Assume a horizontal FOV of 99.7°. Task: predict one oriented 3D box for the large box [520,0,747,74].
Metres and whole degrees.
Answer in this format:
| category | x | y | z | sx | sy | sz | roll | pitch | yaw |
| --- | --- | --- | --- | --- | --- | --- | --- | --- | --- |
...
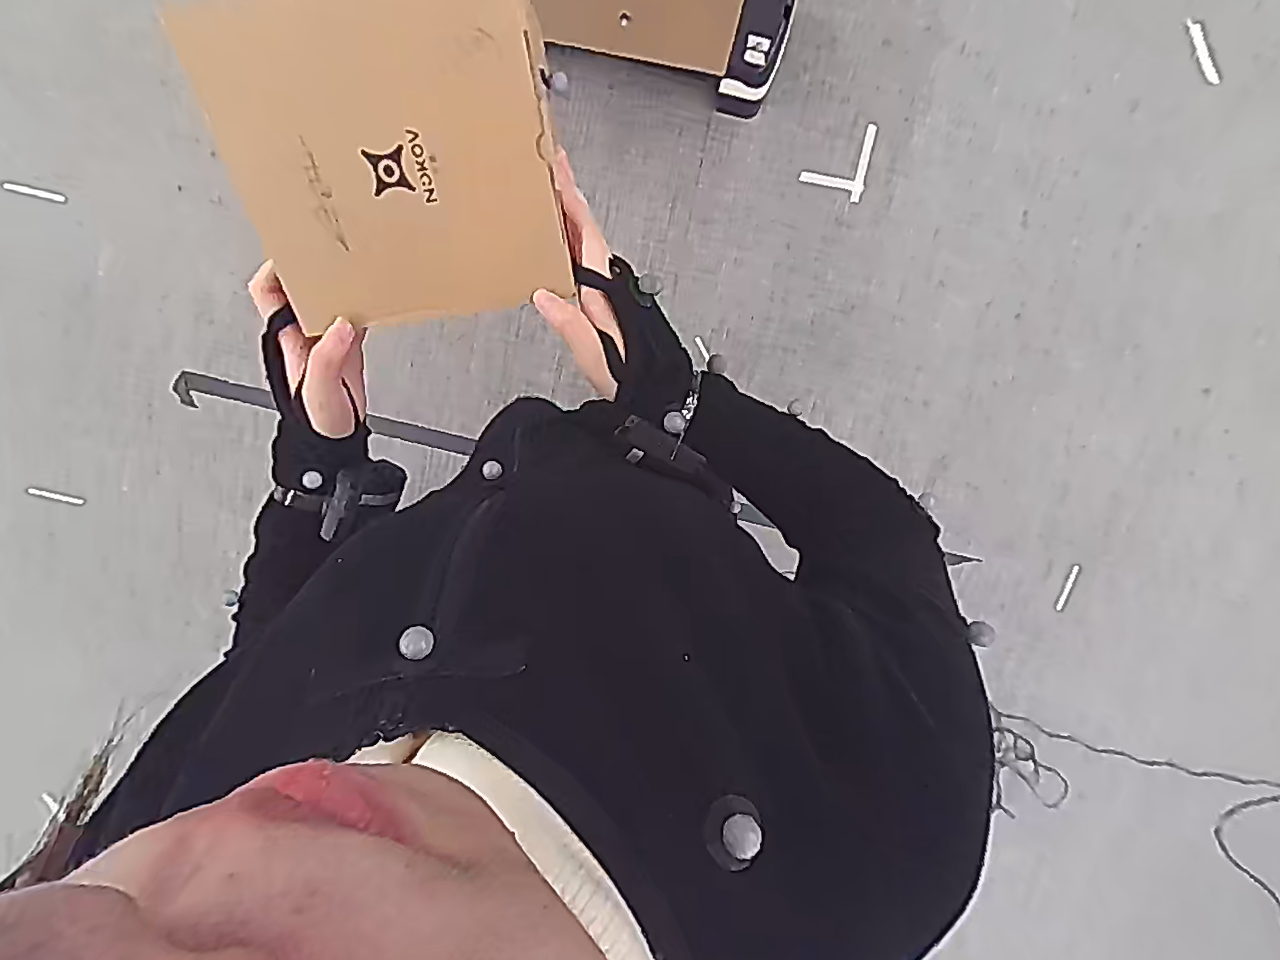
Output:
| category | x | y | z | sx | sy | sz | roll | pitch | yaw |
| --- | --- | --- | --- | --- | --- | --- | --- | --- | --- |
| large box | 0.003 | -0.972 | 0.931 | 0.408 | 0.320 | 0.320 | 10 | 102 | 0 |
